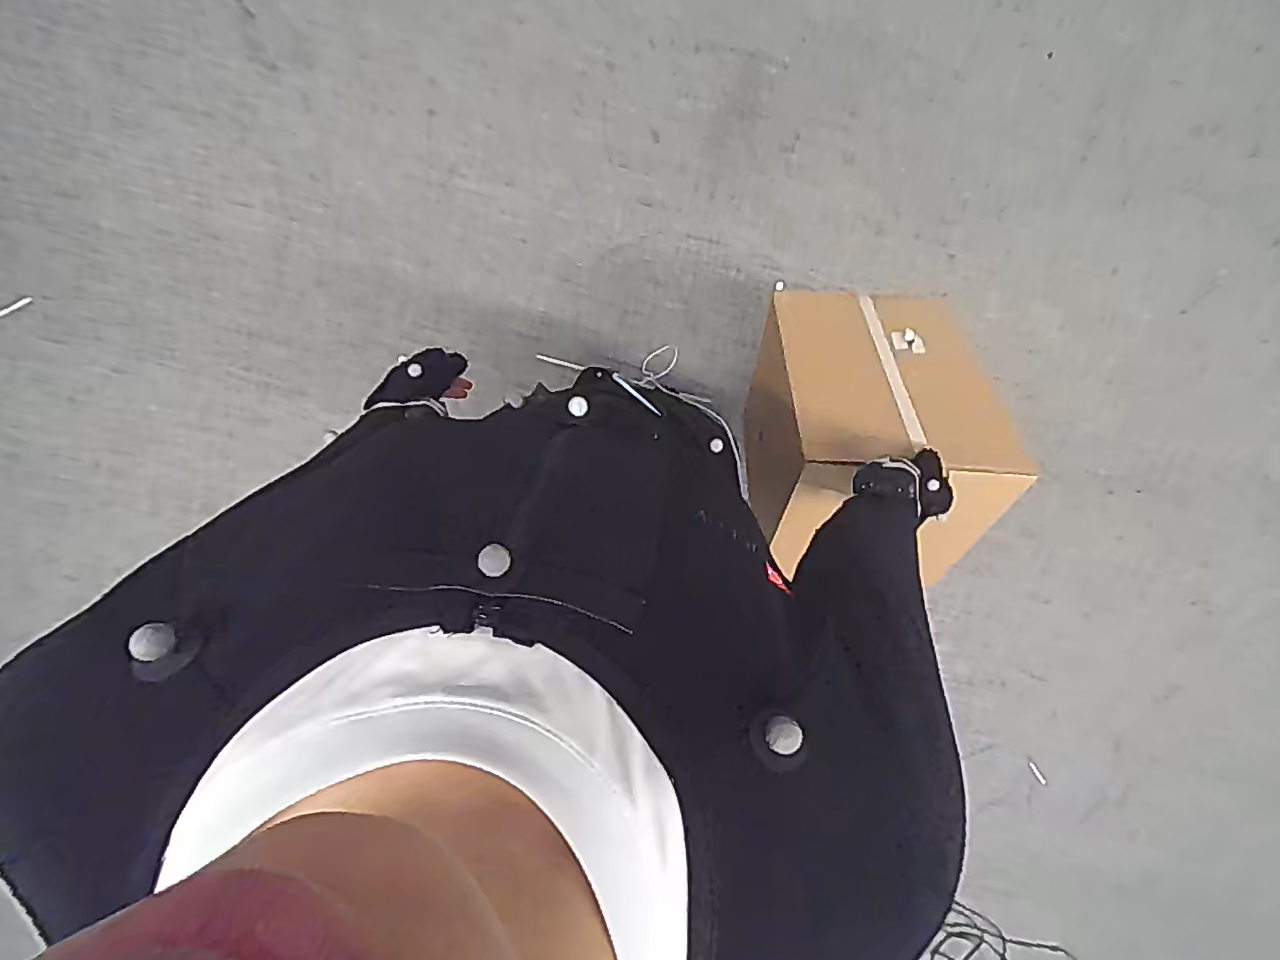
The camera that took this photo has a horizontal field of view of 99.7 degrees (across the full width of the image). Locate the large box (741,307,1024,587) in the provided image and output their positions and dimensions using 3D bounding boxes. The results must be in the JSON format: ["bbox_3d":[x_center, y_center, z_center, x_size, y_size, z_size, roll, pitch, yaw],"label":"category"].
[{"bbox_3d":[0.372,-0.058,0.968,0.320,0.408,0.320,4,140,-1],"label":"large box"}]
